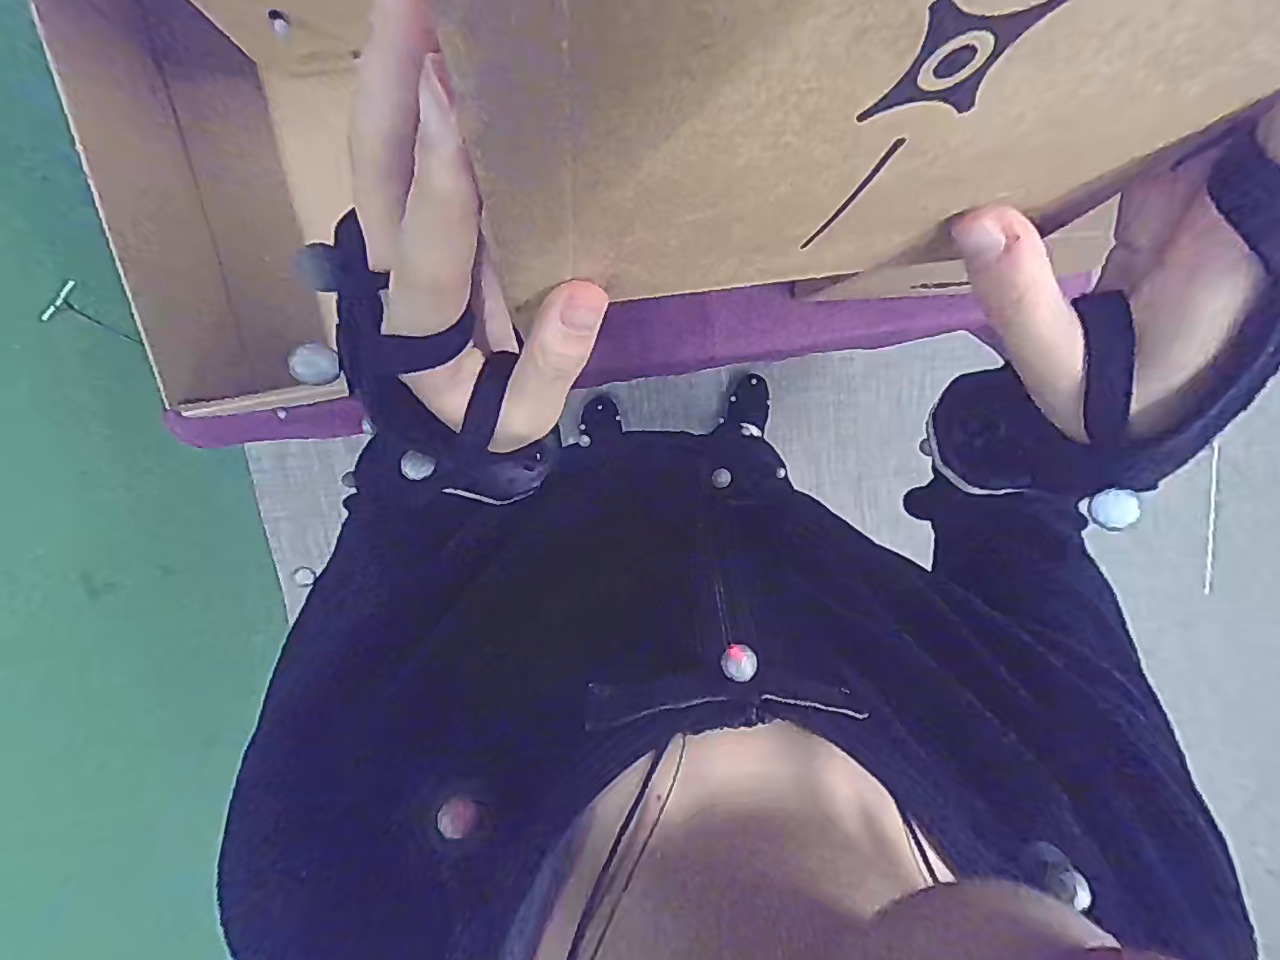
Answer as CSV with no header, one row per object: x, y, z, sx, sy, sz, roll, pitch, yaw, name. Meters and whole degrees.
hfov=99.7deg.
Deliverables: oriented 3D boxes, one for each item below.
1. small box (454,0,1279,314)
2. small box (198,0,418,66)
0.039,-0.152,0.093,0.168,0.179,0.176,-10,86,-7,small box
-0.328,-0.525,0.507,0.168,0.176,0.179,-8,100,-2,small box
